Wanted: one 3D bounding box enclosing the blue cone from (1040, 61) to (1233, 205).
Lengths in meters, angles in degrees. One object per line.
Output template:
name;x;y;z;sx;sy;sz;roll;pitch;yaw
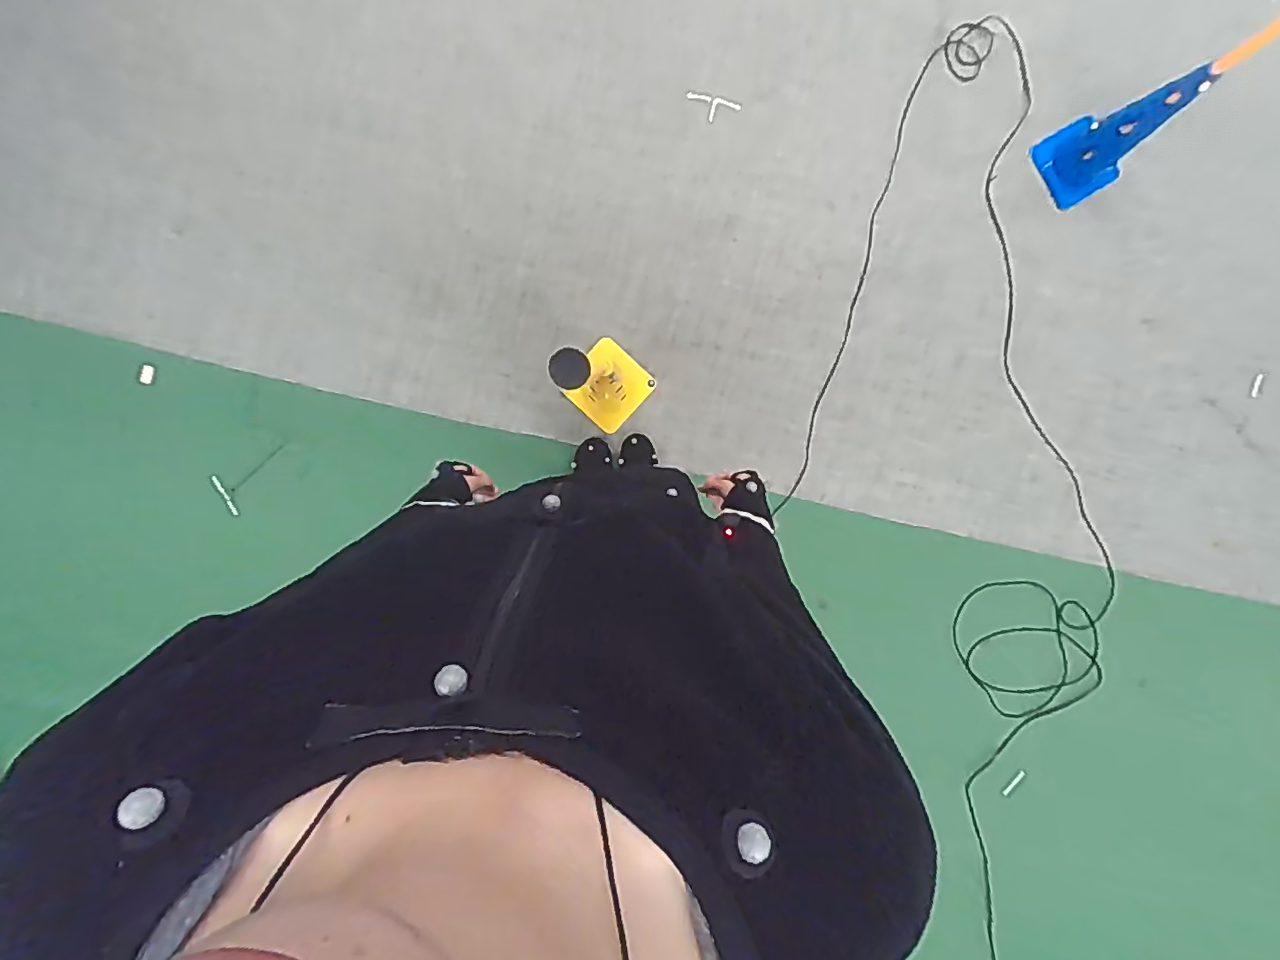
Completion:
blue cone;1.216;-0.875;1.321;0.193;0.380;0.192;-32;93;-3
